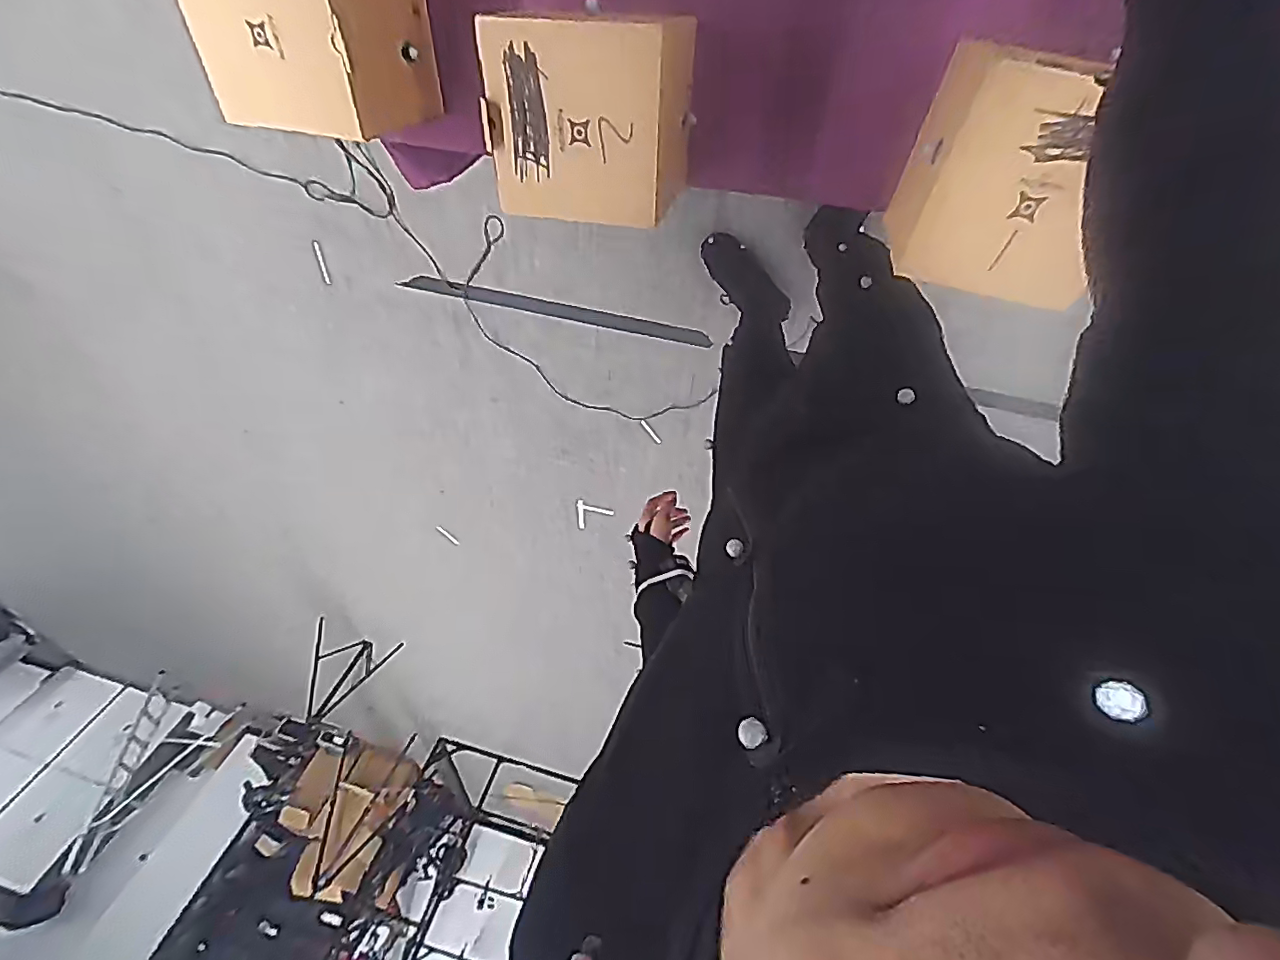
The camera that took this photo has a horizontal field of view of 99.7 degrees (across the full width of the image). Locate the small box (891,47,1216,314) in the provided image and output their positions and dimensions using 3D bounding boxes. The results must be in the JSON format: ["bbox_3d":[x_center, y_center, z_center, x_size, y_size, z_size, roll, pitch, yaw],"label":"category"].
[{"bbox_3d":[0.359,-0.293,0.521,0.168,0.176,0.179,16,134,6],"label":"small box"}]

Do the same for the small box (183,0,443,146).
[{"bbox_3d":[-0.349,-0.486,0.596,0.179,0.176,0.168,11,133,8],"label":"small box"}]
